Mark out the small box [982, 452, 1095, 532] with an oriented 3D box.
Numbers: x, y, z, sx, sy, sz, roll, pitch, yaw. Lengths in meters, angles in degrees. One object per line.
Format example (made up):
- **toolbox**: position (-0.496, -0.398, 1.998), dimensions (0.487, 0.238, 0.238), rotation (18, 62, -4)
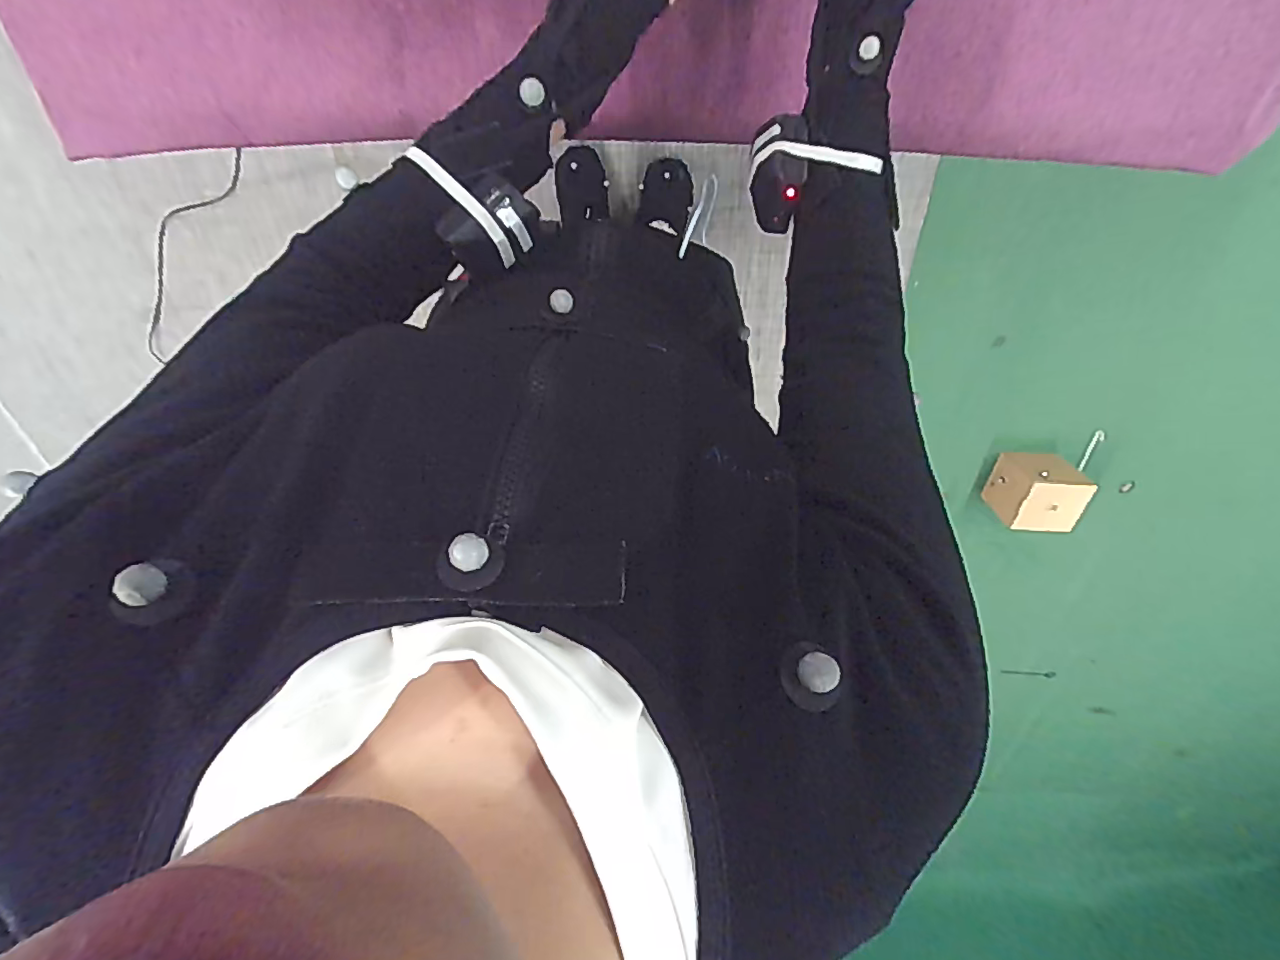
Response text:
- **small box**: position (1.150, 0.032, 1.575), dimensions (0.179, 0.176, 0.168), rotation (3, 125, 0)
